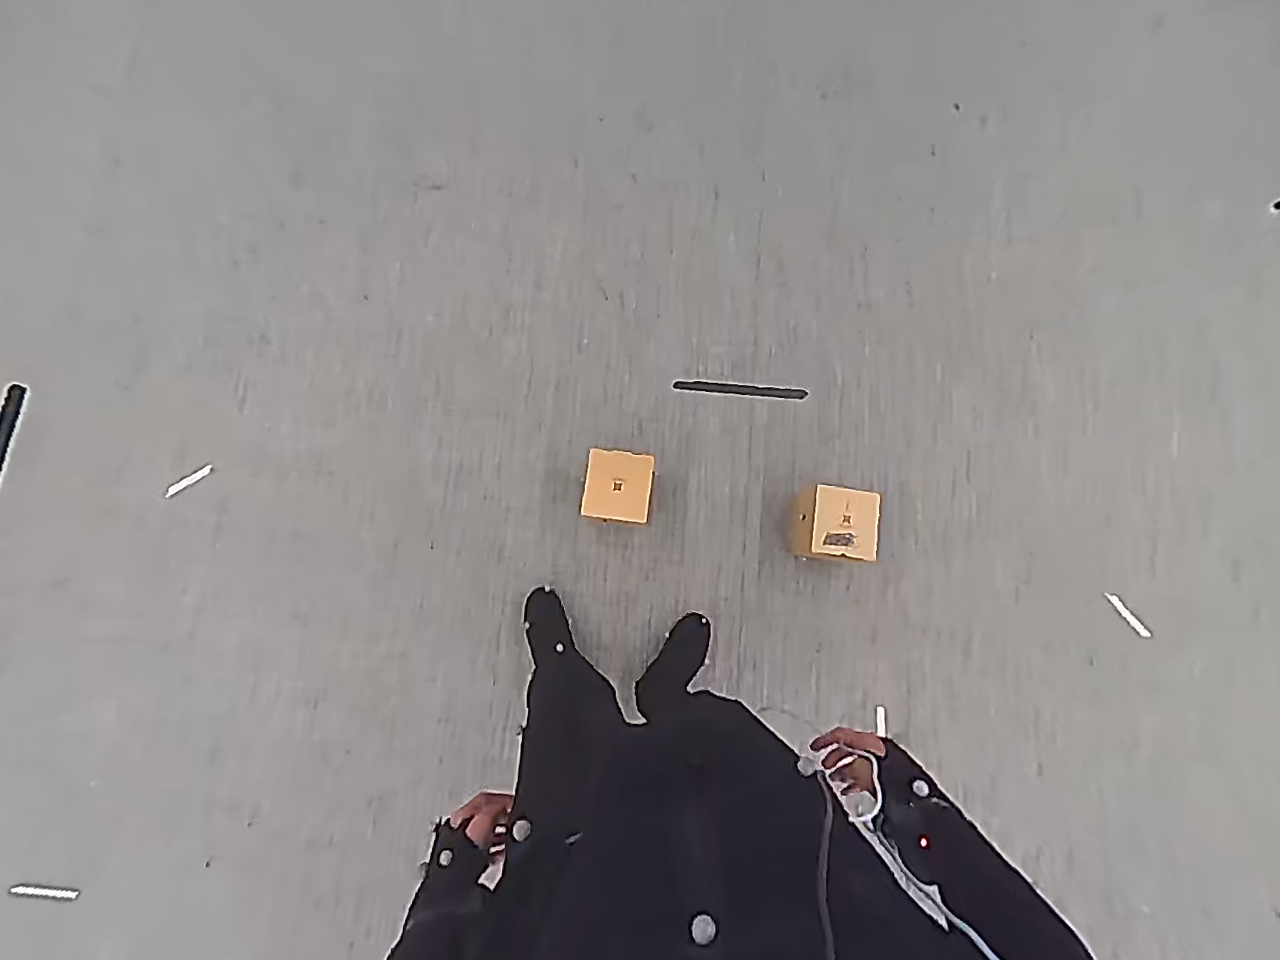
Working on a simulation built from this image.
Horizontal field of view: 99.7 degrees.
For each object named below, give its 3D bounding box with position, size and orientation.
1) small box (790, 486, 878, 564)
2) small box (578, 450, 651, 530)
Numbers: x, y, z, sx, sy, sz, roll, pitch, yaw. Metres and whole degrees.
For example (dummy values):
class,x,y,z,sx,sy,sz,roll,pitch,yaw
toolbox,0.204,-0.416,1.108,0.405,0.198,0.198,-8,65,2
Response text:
class,x,y,z,sx,sy,sz,roll,pitch,yaw
small box,0.504,0.125,1.428,0.168,0.176,0.179,9,79,-1
small box,-0.063,0.033,1.425,0.168,0.176,0.179,7,79,0
